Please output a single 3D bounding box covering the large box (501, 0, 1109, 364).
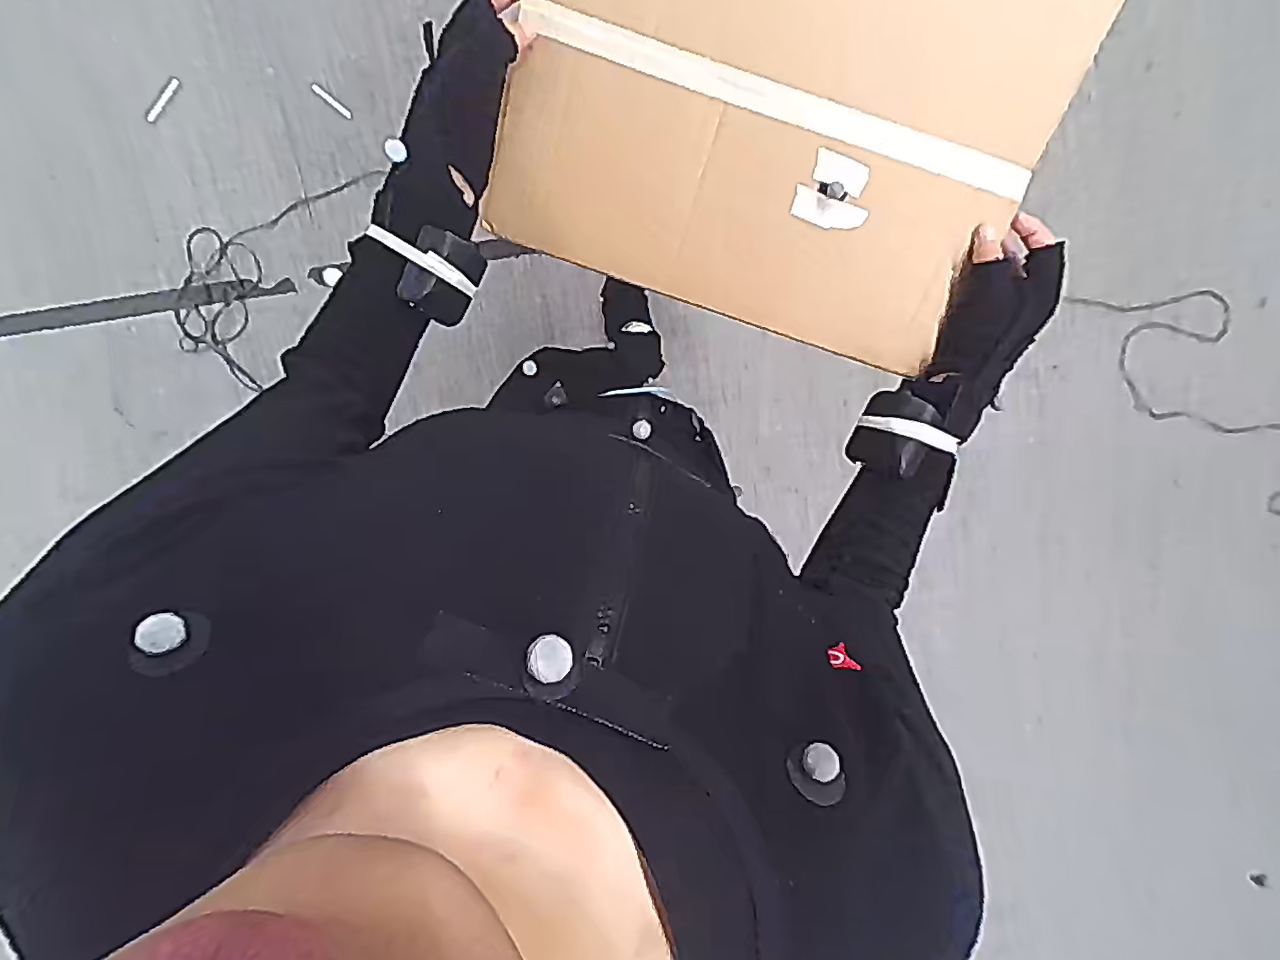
[{"bbox_3d":[0.120,-0.349,0.560,0.408,0.320,0.320,19,112,-3],"label":"large box"}]
